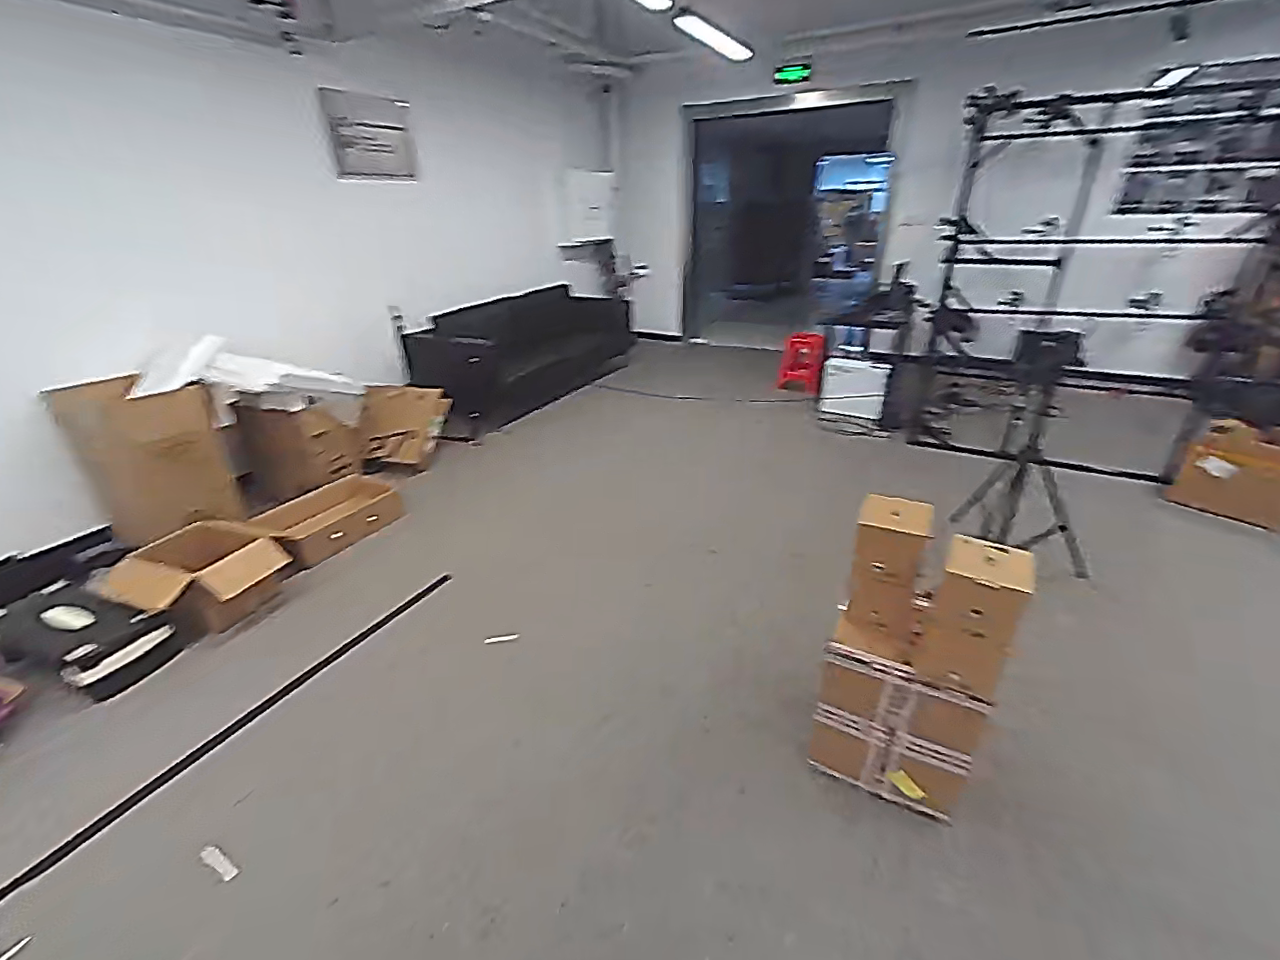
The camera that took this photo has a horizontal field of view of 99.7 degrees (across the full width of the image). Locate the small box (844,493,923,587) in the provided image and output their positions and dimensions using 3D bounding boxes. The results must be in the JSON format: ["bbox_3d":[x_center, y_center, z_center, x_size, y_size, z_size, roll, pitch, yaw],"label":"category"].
[{"bbox_3d":[0.664,0.161,1.480,0.168,0.176,0.179,11,31,27],"label":"small box"}]

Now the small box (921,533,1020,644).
[{"bbox_3d":[0.783,0.257,1.287,0.168,0.176,0.179,15,33,29],"label":"small box"}]

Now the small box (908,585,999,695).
[{"bbox_3d":[0.788,0.401,1.365,0.168,0.176,0.179,13,32,26],"label":"small box"}]

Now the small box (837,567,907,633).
[{"bbox_3d":[0.673,0.305,1.556,0.168,0.176,0.179,11,31,27],"label":"small box"}]
